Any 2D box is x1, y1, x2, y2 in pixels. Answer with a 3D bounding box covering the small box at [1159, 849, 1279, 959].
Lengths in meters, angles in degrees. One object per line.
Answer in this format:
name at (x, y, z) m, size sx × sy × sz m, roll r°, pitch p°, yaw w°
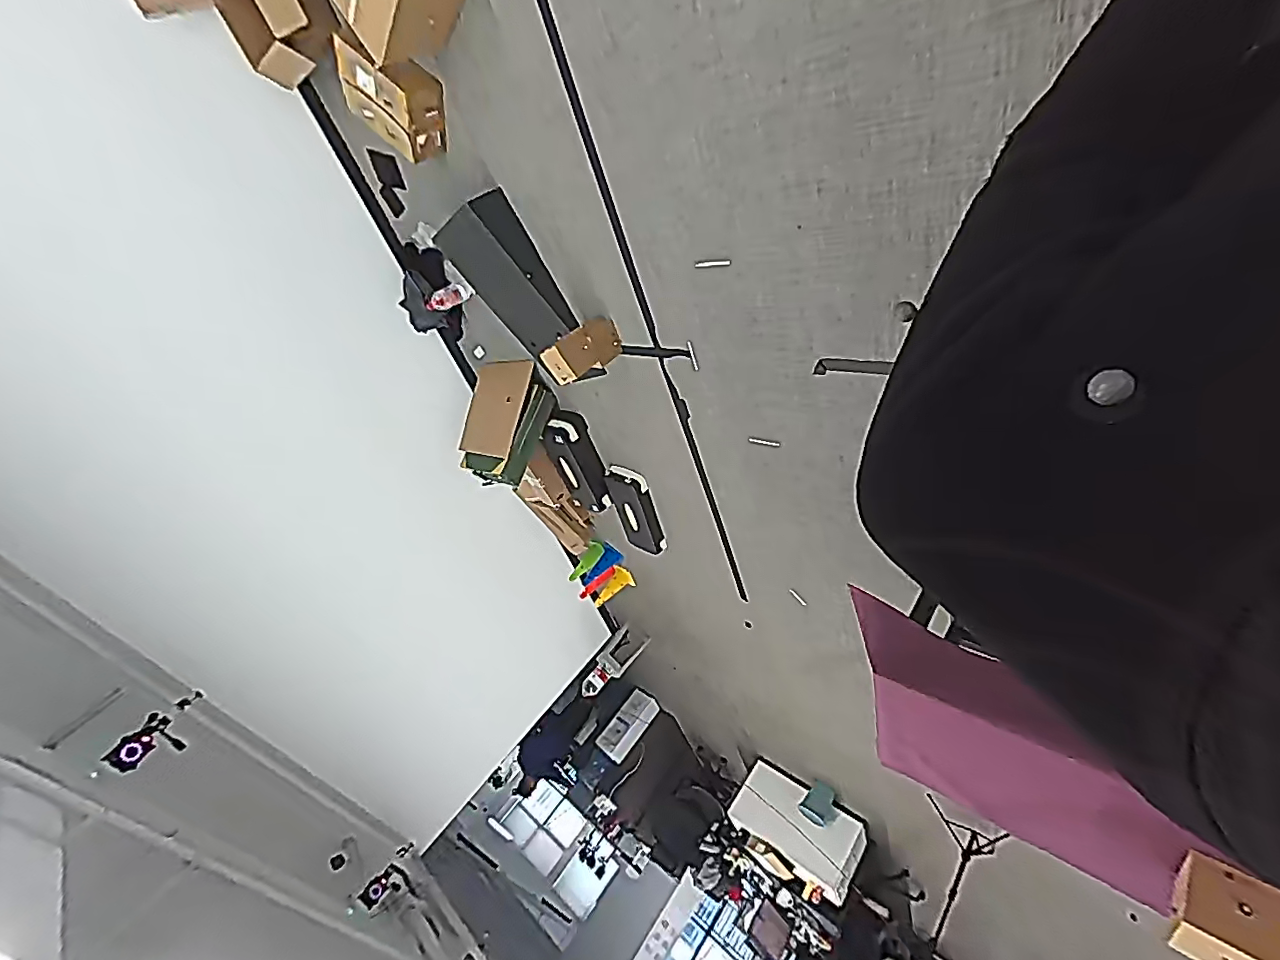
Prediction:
small box at (1.295, 0.973, 1.203) m, size 0.168 × 0.176 × 0.179 m, roll 15°, pitch 140°, yaw 43°
